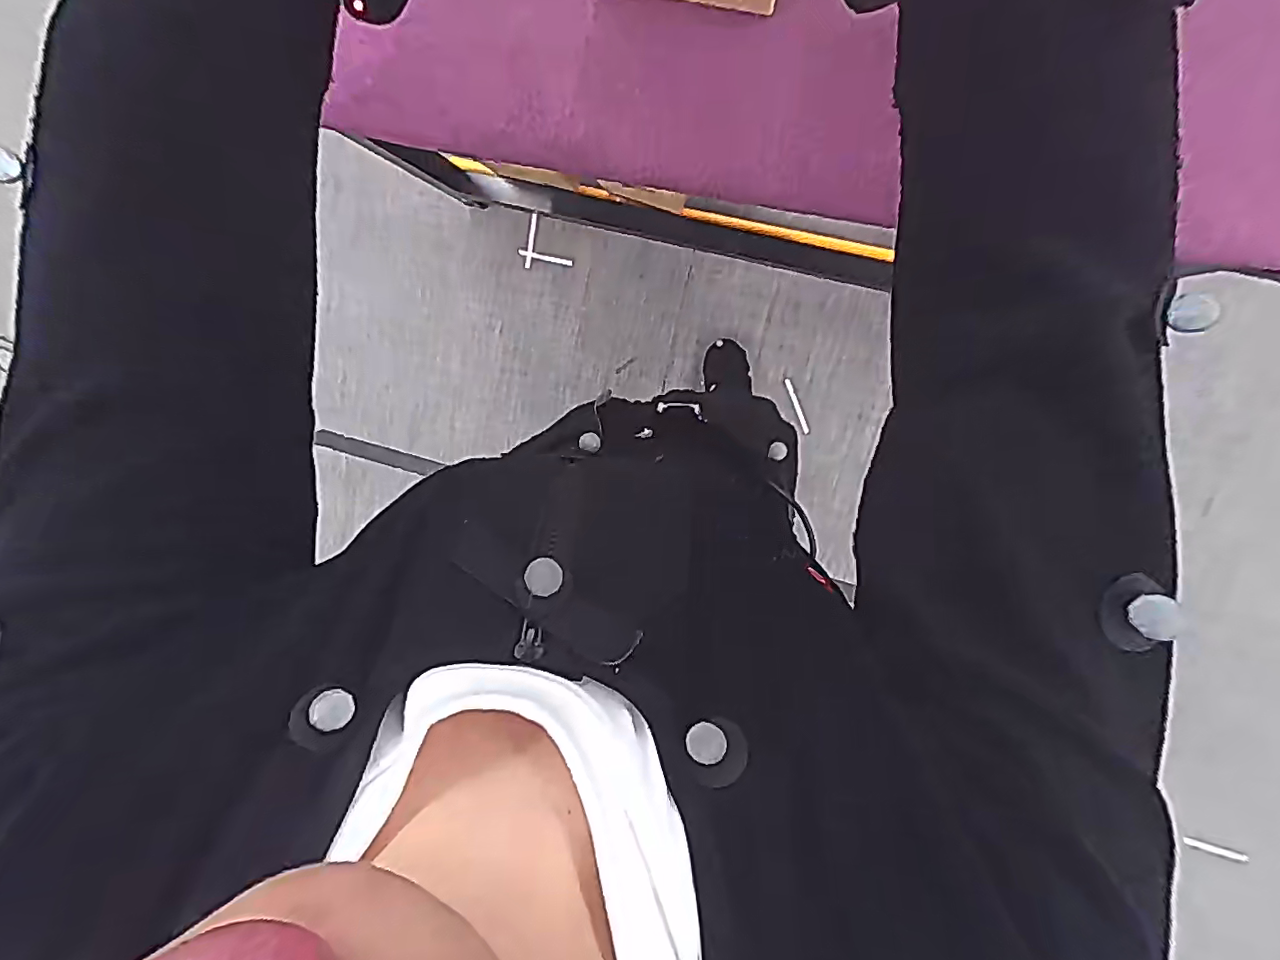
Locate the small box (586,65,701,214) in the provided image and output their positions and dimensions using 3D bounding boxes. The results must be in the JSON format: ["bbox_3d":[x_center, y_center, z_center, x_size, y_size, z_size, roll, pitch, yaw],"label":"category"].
[{"bbox_3d":[0.016,-0.635,1.036,0.168,0.176,0.179,20,105,3],"label":"small box"}]
